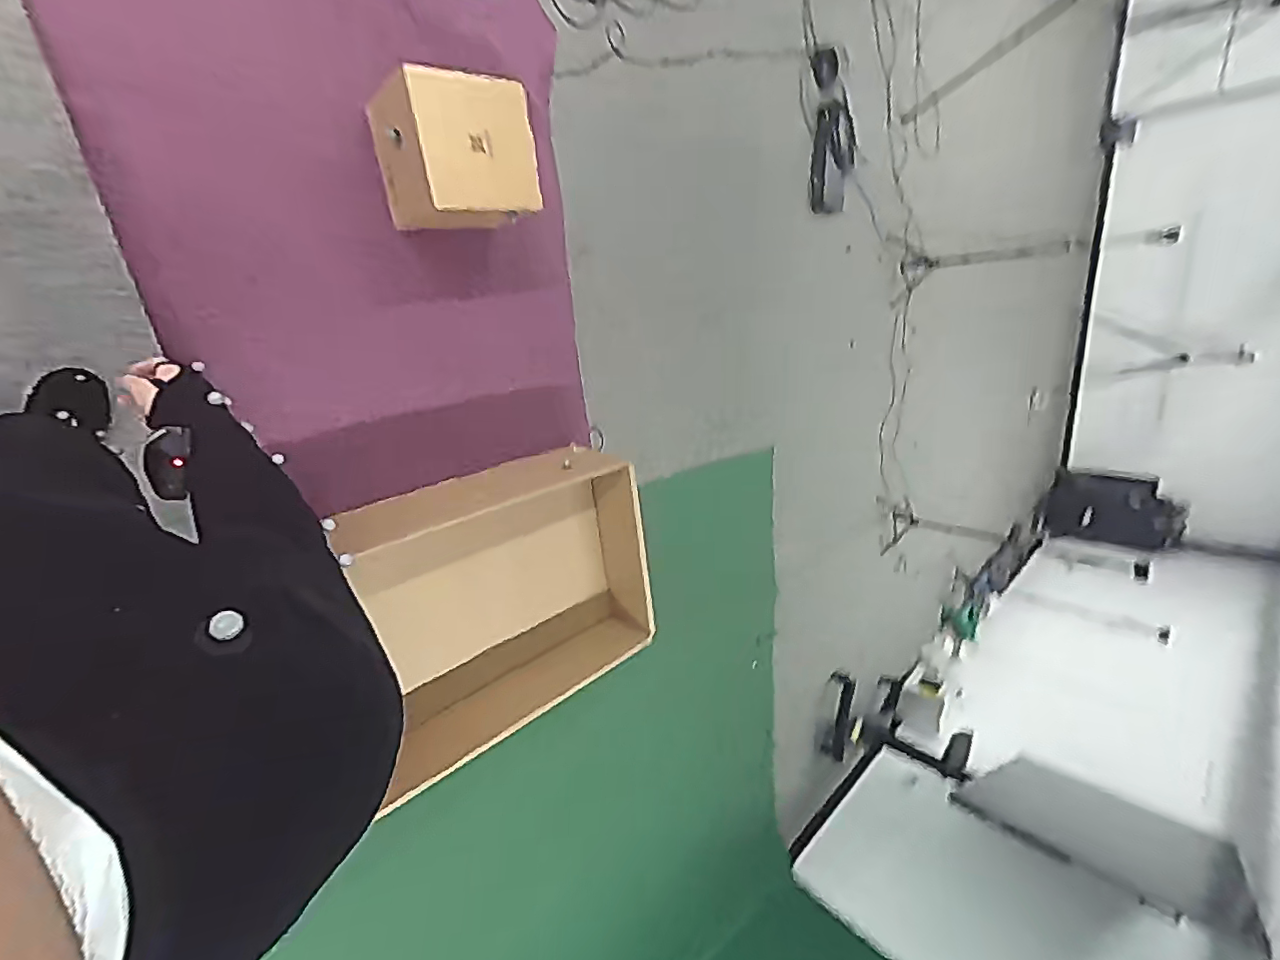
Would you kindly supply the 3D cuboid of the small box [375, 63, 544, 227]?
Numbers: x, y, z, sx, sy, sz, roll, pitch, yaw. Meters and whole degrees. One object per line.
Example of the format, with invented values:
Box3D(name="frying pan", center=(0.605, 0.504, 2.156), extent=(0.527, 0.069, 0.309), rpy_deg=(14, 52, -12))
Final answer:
Box3D(name="small box", center=(-0.273, -0.480, 0.805), extent=(0.179, 0.176, 0.168), rpy_deg=(-23, 115, -38))
